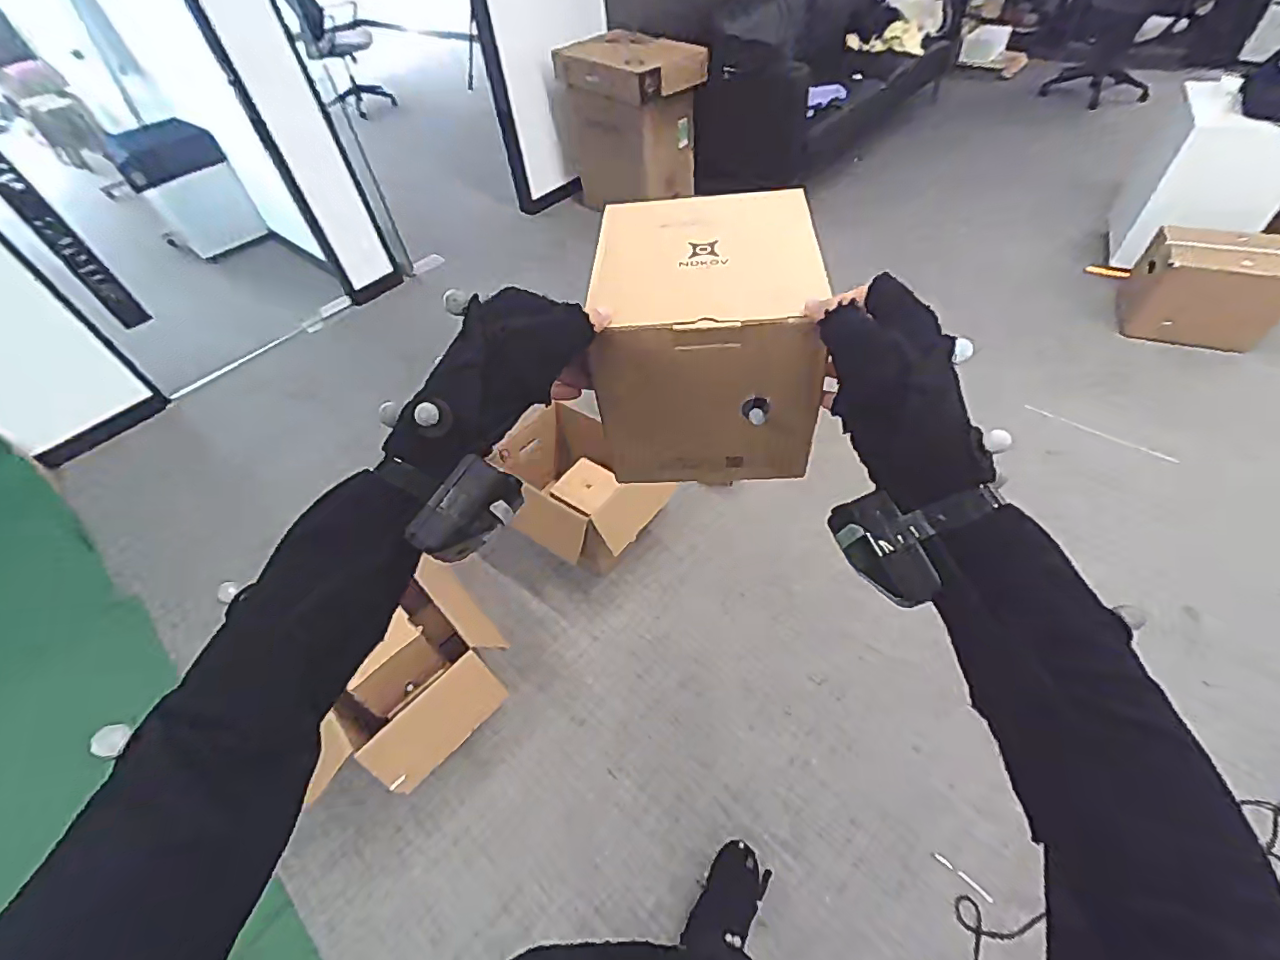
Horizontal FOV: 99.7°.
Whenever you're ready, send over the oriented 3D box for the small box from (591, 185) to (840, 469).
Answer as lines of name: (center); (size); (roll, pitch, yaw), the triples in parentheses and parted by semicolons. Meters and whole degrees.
small box: (0.062, -0.121, 0.464); (0.168, 0.176, 0.179); (-1, 52, 7)
